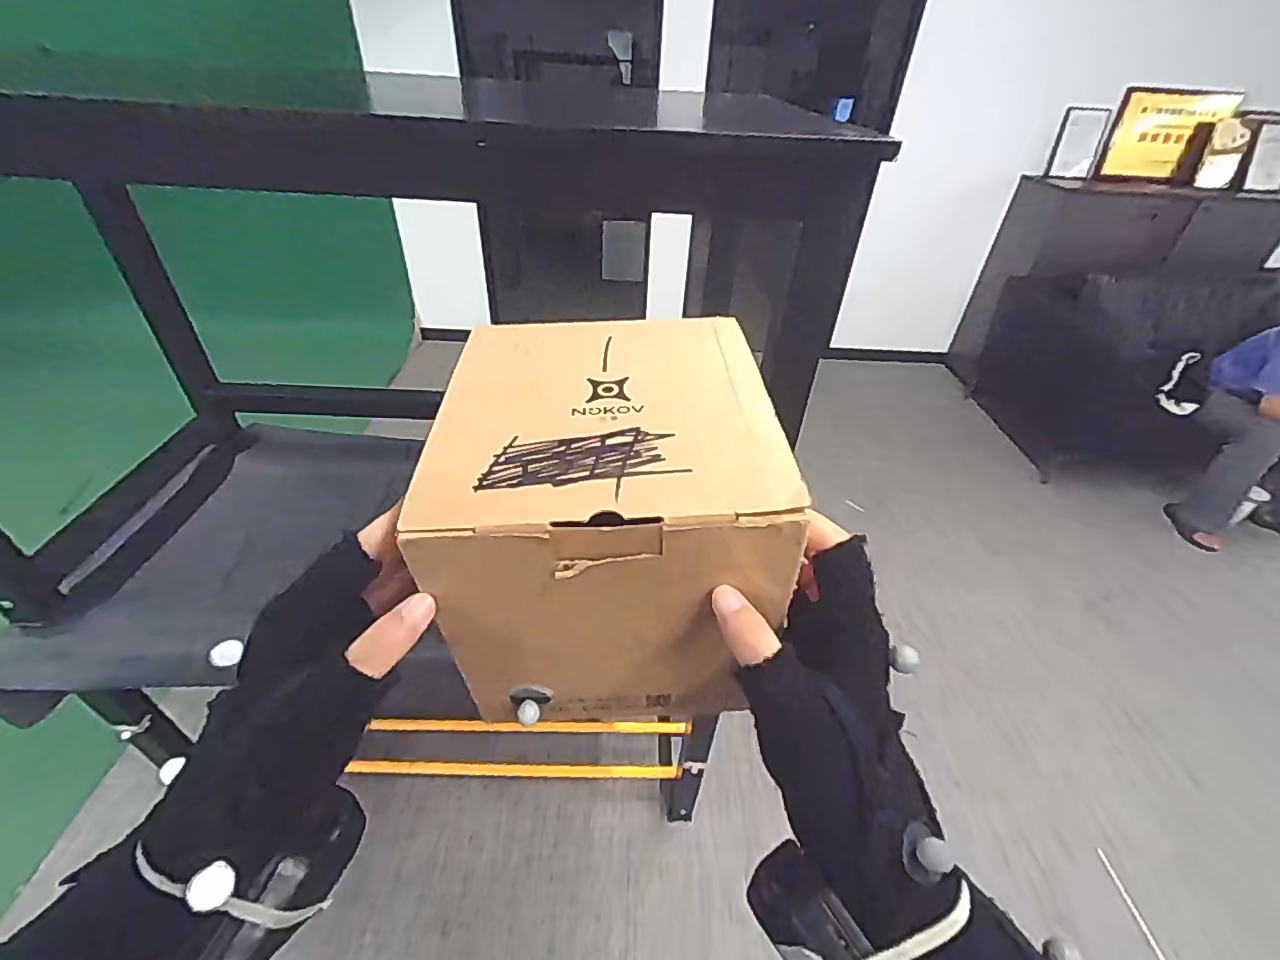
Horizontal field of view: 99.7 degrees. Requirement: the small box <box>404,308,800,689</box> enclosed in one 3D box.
[{"bbox_3d":[-0.015,0.013,0.331,0.168,0.176,0.179,-2,41,-1],"label":"small box"}]
